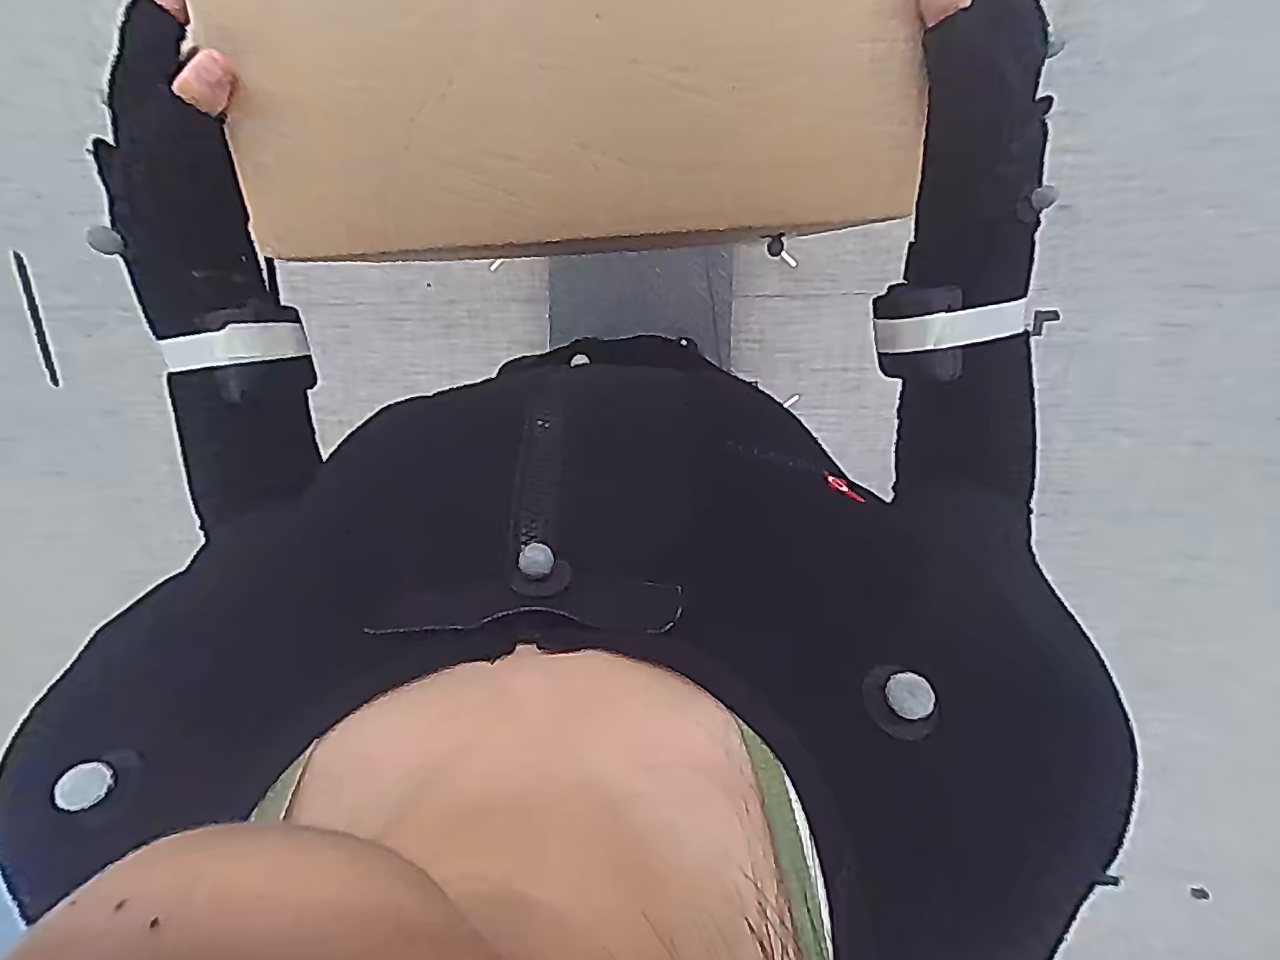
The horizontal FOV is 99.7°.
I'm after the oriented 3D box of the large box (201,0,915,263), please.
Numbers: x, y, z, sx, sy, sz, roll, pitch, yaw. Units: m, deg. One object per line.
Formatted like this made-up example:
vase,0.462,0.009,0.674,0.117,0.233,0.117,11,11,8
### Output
large box,-0.047,-0.353,0.428,0.408,0.320,0.320,-4,111,0
